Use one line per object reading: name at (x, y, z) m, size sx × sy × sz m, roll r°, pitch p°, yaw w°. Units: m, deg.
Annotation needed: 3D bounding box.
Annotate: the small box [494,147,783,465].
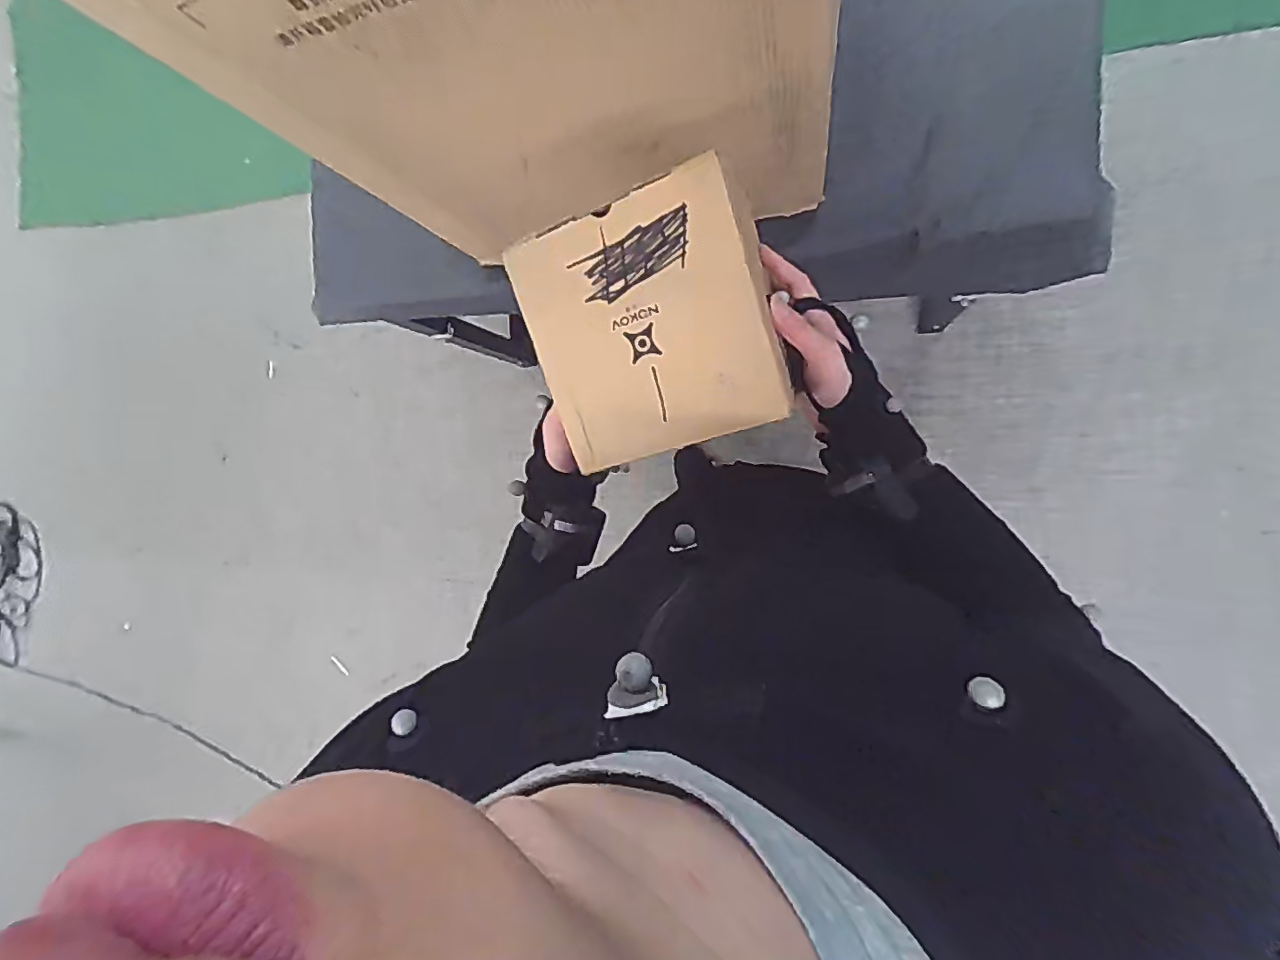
small box at (0.016, -0.130, 0.448) m, size 0.168 × 0.176 × 0.179 m, roll -13°, pitch 103°, yaw 21°
